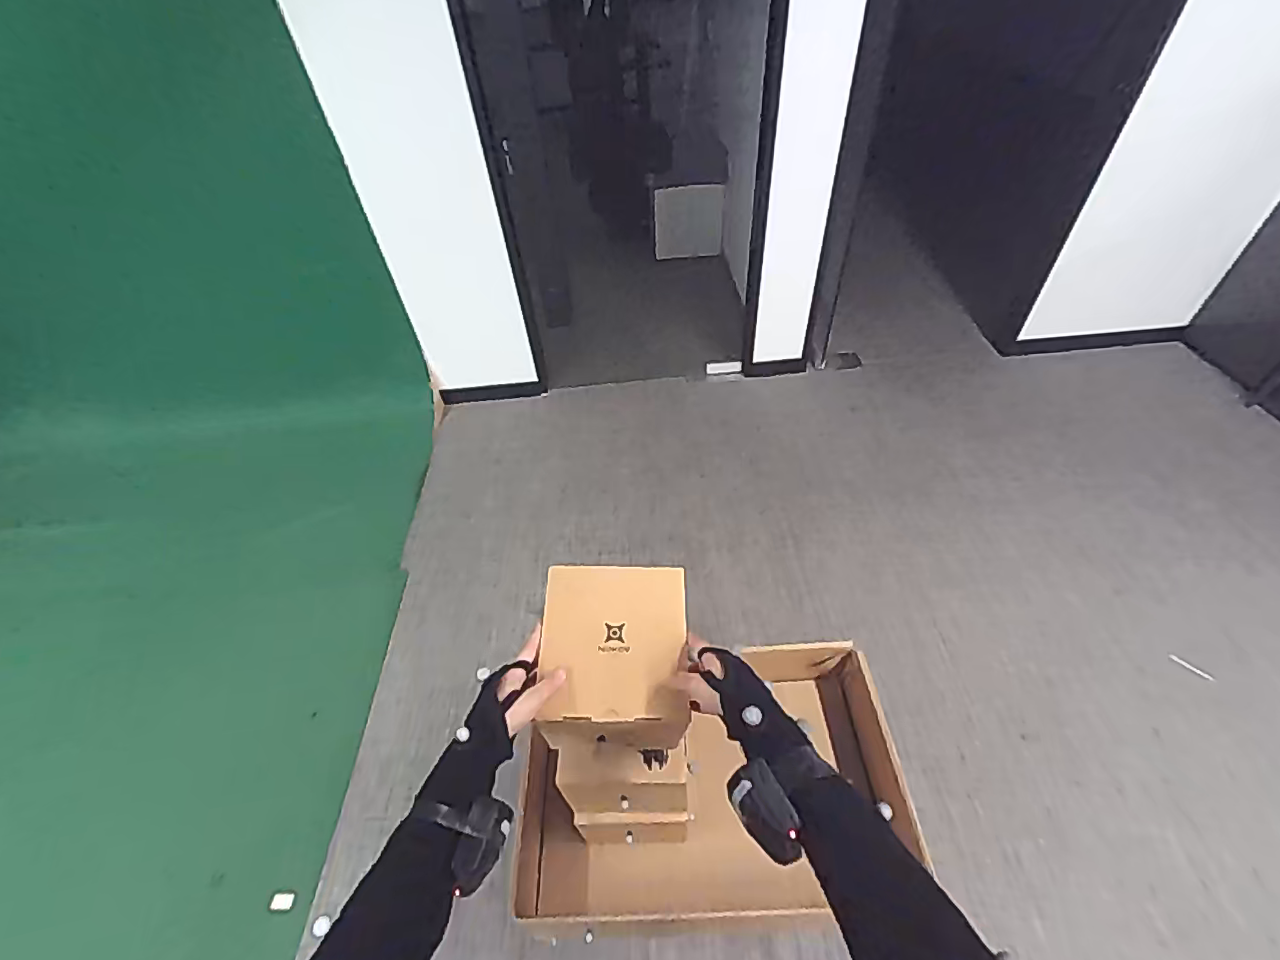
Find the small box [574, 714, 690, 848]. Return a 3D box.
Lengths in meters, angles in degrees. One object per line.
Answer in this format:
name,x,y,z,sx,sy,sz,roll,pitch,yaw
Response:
small box,-0.009,0.513,0.920,0.179,0.176,0.168,-3,46,2
